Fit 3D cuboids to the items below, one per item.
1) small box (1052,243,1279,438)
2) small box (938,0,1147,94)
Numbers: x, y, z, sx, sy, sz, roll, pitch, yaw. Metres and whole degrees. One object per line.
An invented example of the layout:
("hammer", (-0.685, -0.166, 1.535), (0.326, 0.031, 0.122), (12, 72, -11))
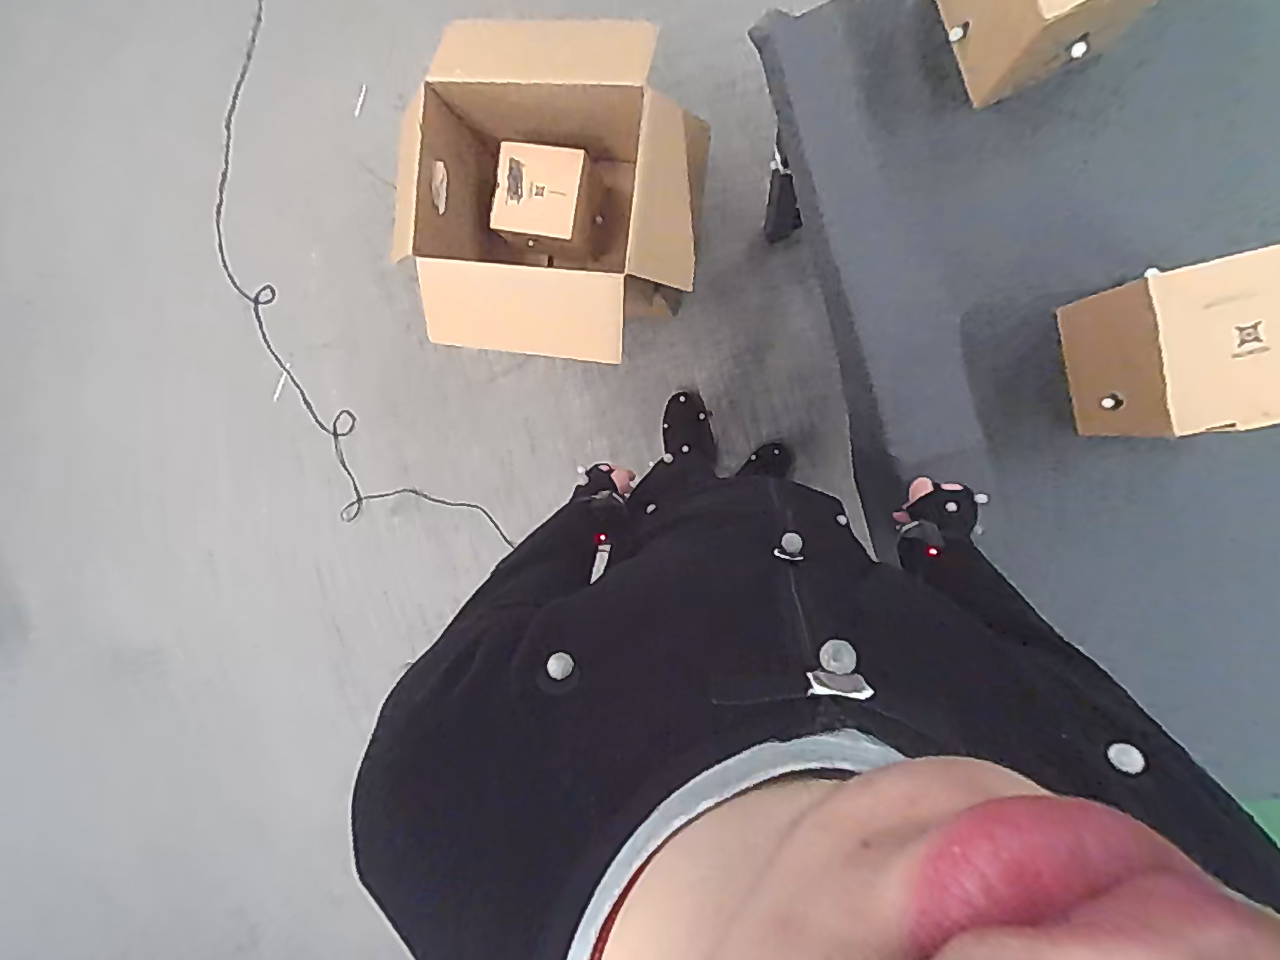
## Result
("small box", (0.630, -0.152, 0.633), (0.168, 0.176, 0.179), (-13, 93, 9))
("small box", (0.467, -0.584, 0.611), (0.168, 0.176, 0.179), (-21, 94, 11))
